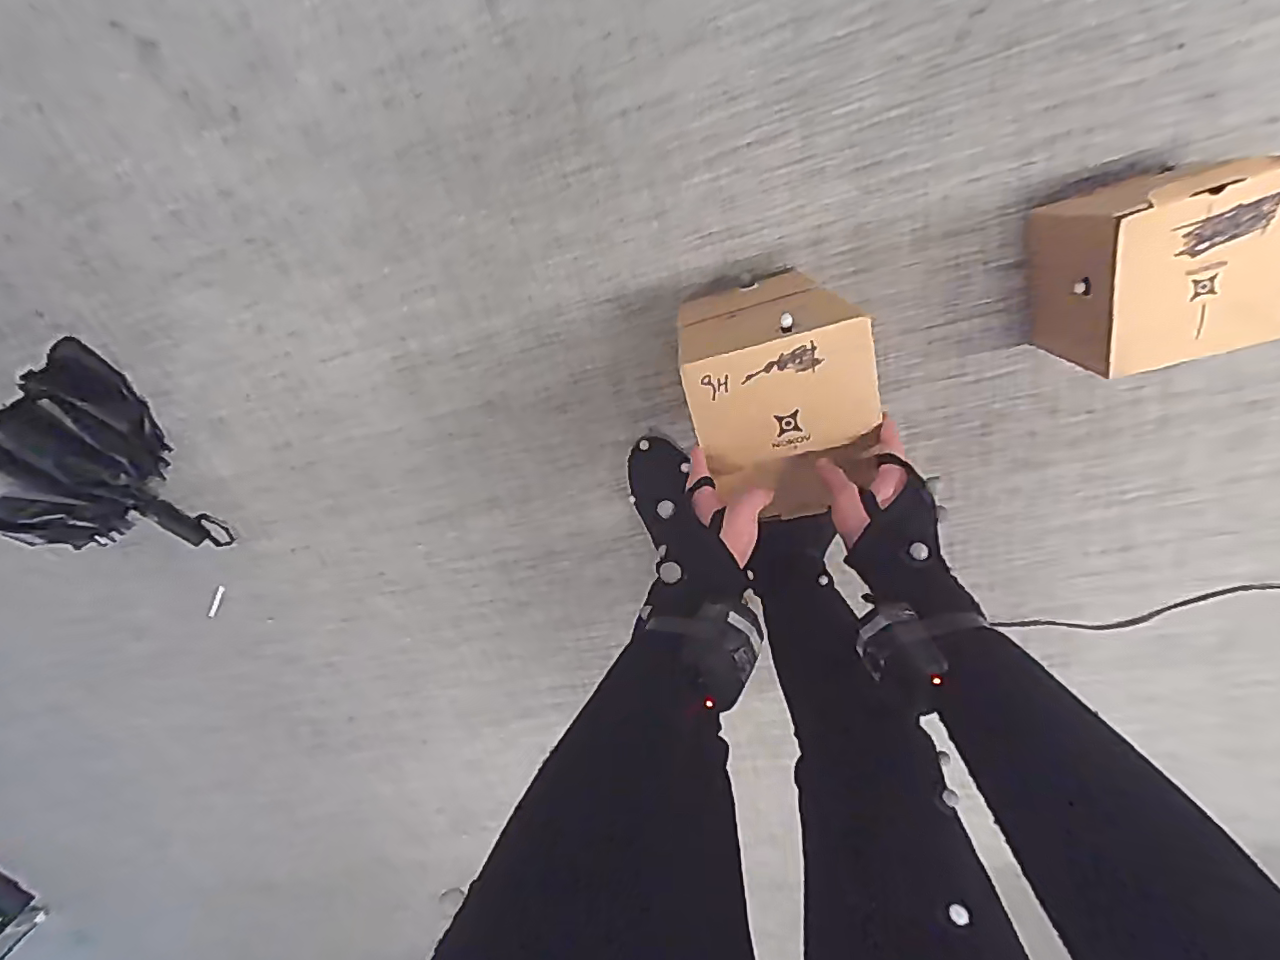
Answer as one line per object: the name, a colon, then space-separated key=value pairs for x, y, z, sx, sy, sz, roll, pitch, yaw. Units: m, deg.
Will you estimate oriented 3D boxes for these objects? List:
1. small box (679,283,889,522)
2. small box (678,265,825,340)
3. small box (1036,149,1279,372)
small box: x=0.144 y=-0.085 z=0.562 sx=0.168 sy=0.176 sz=0.179 roll=-13 pitch=116 yaw=12
small box: x=0.153 y=-0.162 z=0.704 sx=0.168 sy=0.176 sz=0.179 roll=-14 pitch=114 yaw=12
small box: x=0.576 y=-0.246 z=0.605 sx=0.168 sy=0.176 sz=0.179 roll=-14 pitch=116 yaw=15
